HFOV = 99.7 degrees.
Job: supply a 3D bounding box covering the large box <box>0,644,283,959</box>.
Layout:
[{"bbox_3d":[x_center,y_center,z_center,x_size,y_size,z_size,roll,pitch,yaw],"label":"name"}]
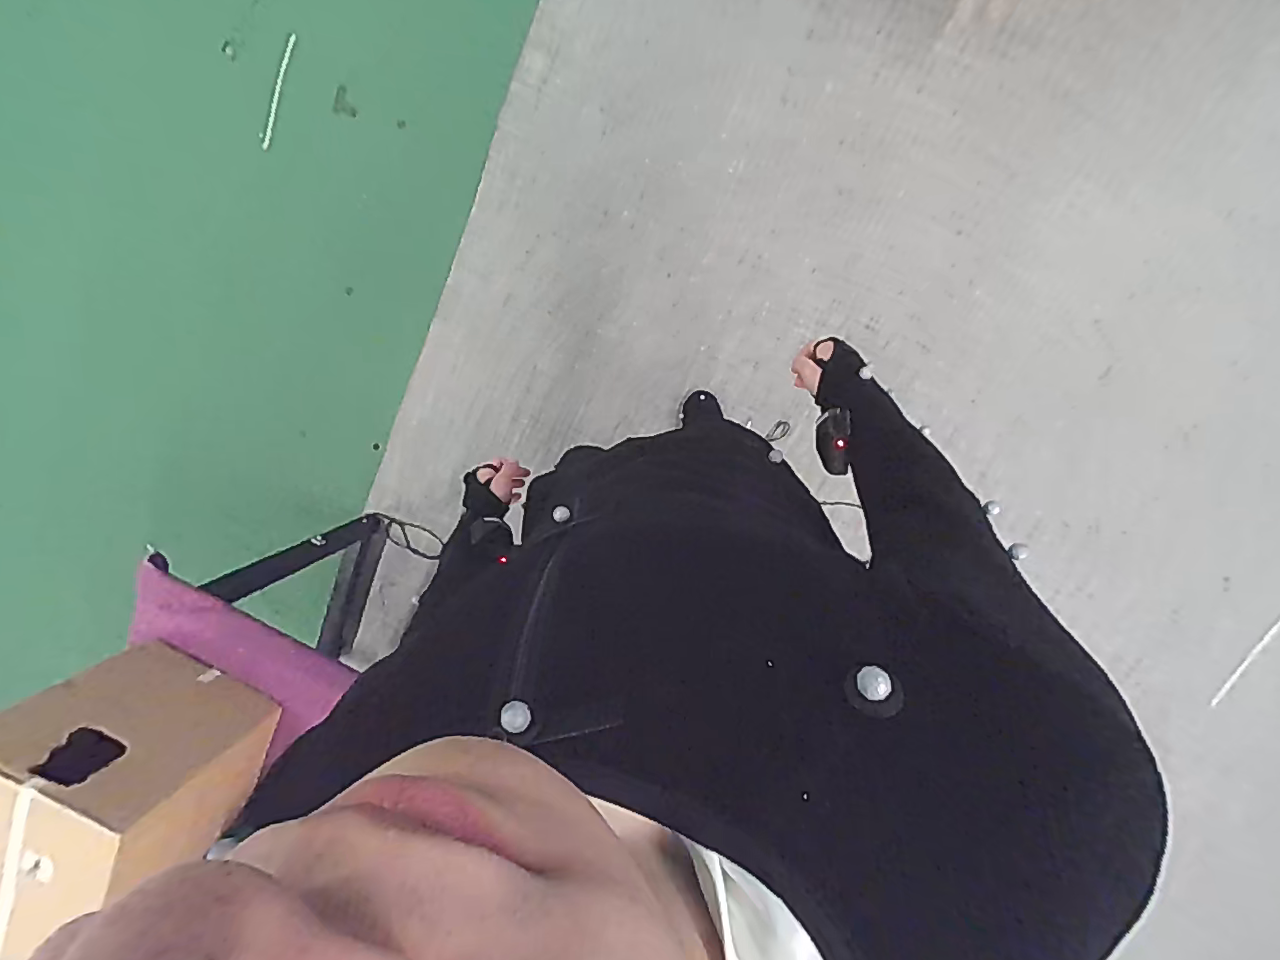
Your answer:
[{"bbox_3d":[-0.948,0.597,0.996,0.320,0.320,0.408,26,104,1],"label":"large box"}]
